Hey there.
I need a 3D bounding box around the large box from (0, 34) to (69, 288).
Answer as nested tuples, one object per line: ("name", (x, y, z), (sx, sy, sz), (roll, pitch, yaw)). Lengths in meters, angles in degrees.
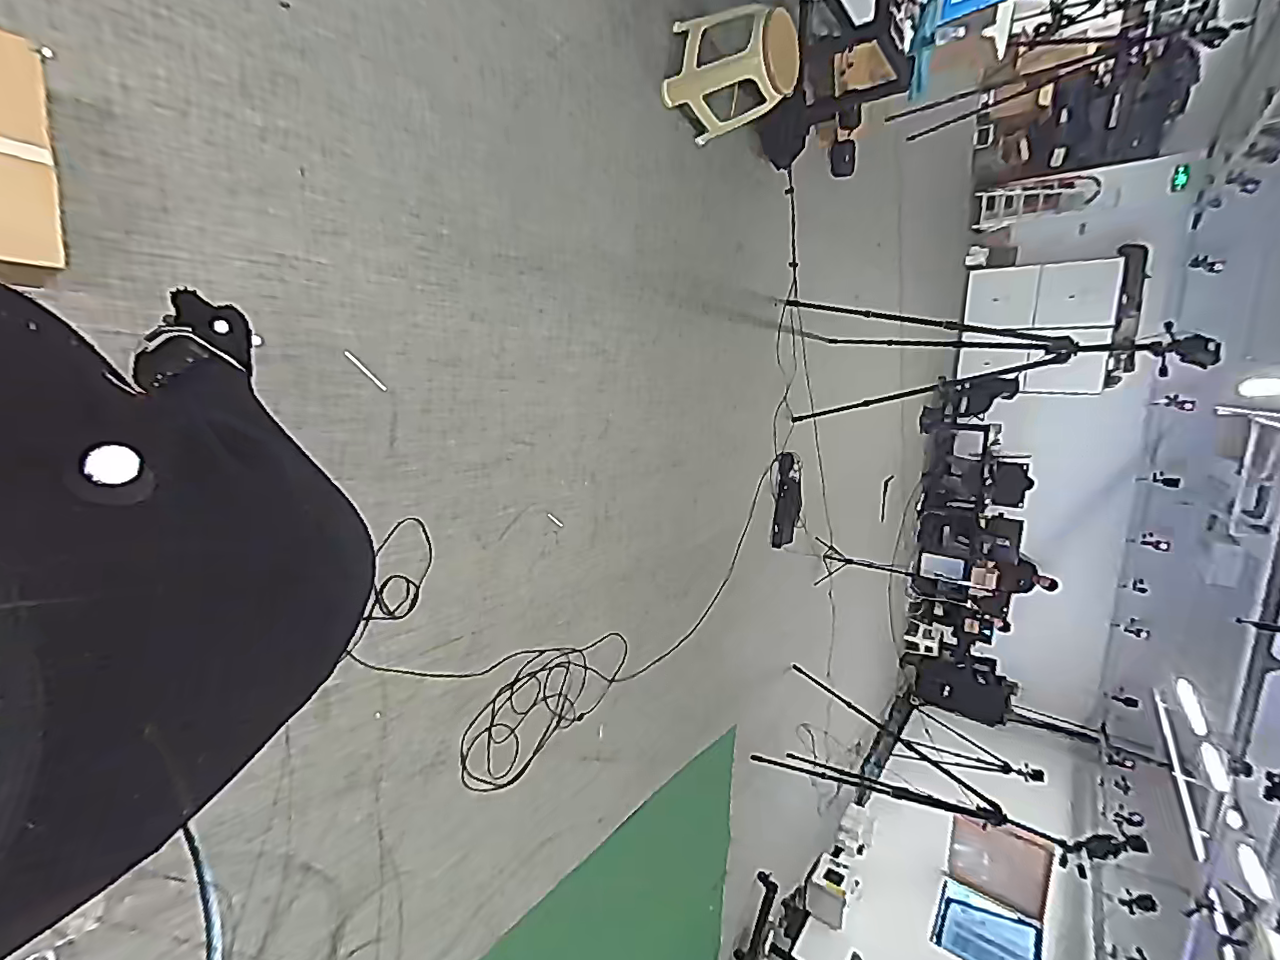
("large box", (-1.111, -0.469, 0.741), (0.408, 0.320, 0.320), (-8, 103, -51))
